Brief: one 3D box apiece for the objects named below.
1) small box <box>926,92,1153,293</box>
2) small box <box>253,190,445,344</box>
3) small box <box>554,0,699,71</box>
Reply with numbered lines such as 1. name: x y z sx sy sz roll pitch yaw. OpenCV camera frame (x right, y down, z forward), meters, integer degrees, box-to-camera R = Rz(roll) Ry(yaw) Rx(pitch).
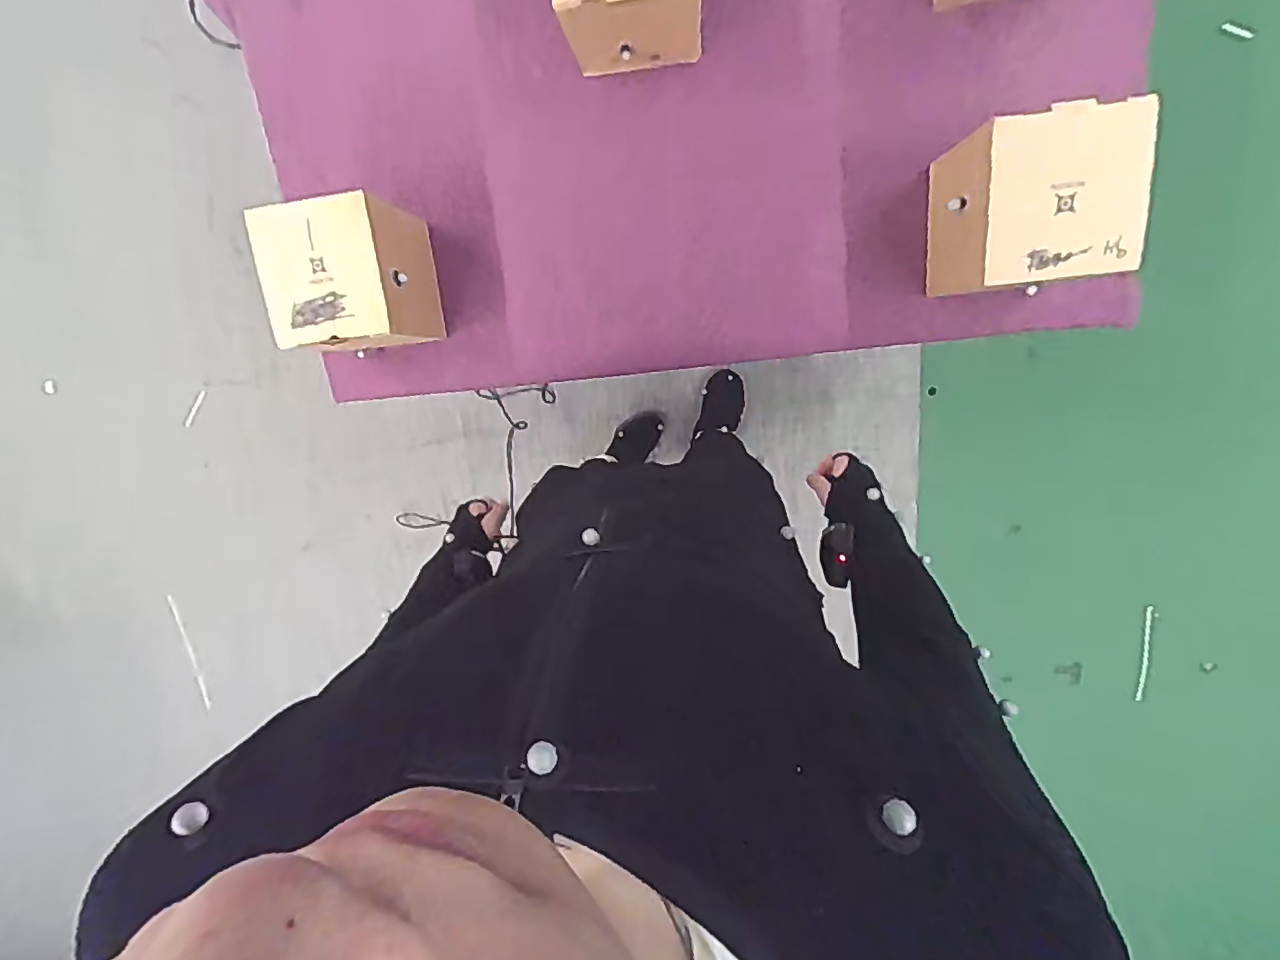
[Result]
1. small box: 0.471 -0.336 0.670 0.168 0.176 0.179 -3 104 9
2. small box: -0.405 -0.295 0.787 0.168 0.176 0.179 -5 102 8
3. small box: -0.016 -0.640 0.653 0.168 0.176 0.179 -3 106 7
